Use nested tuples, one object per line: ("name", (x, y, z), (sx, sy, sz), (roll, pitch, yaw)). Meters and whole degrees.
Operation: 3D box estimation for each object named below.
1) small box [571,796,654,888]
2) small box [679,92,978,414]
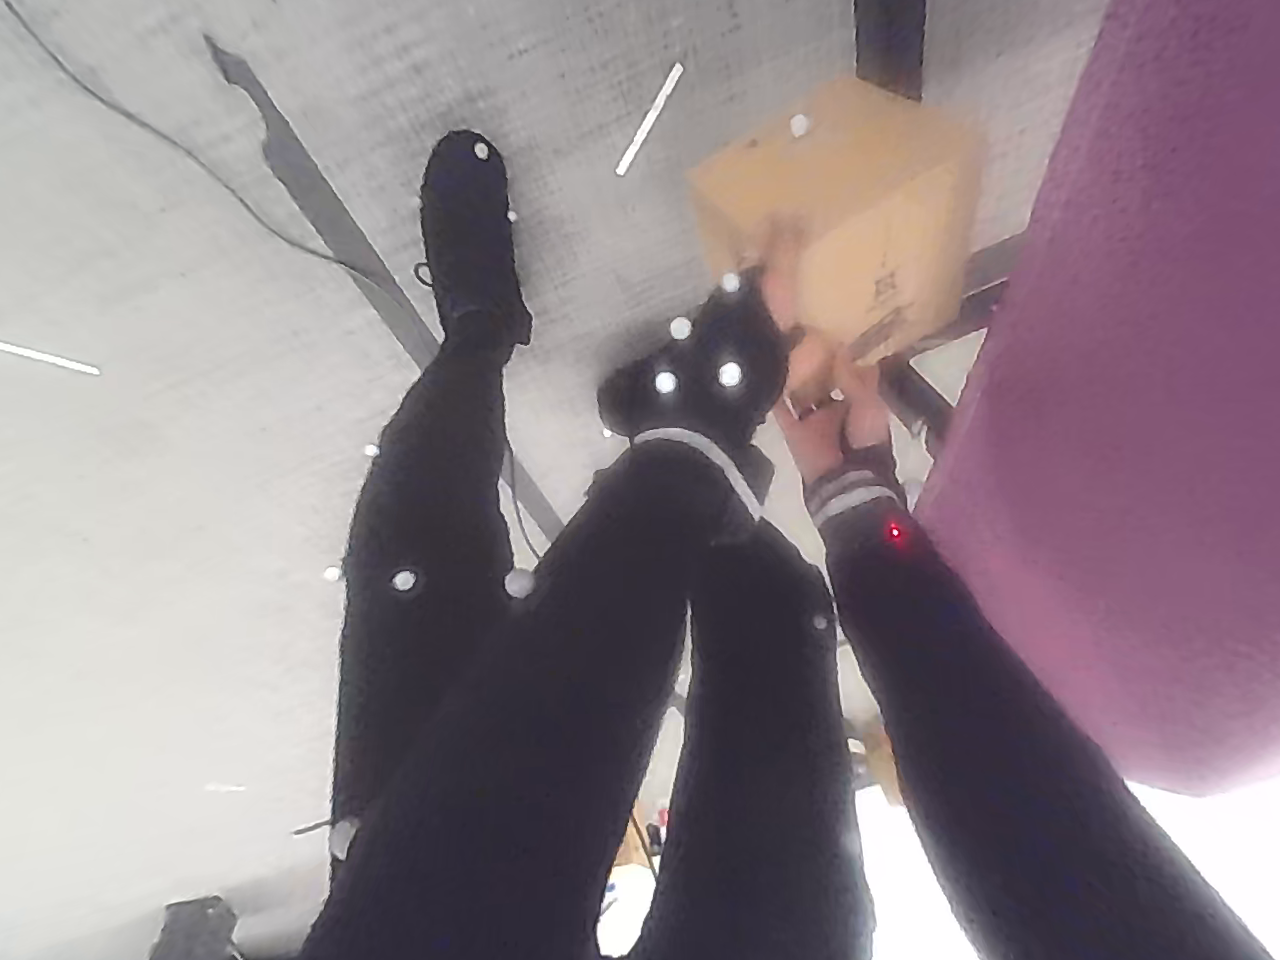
("small box", (-0.074, 0.975, 1.459), (0.168, 0.176, 0.179), (-21, 136, 6))
("small box", (0.159, -0.201, 0.488), (0.168, 0.176, 0.179), (-32, 143, 2))
